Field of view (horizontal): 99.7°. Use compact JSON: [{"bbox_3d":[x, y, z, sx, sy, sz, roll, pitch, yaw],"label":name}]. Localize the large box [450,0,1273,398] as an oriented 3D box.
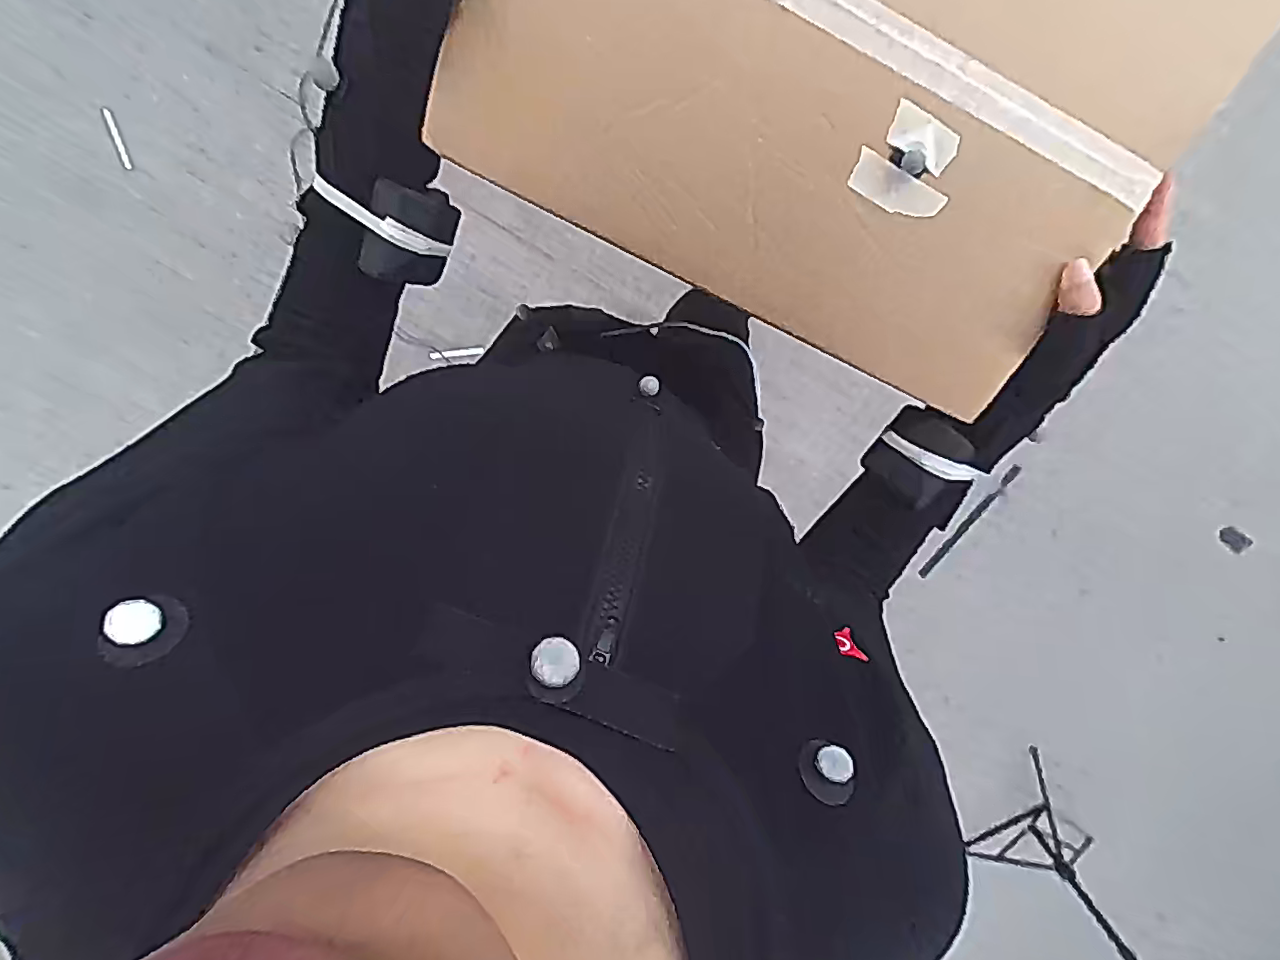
[{"bbox_3d":[0.126,-0.322,0.440,0.408,0.320,0.320,24,115,-8],"label":"large box"}]
